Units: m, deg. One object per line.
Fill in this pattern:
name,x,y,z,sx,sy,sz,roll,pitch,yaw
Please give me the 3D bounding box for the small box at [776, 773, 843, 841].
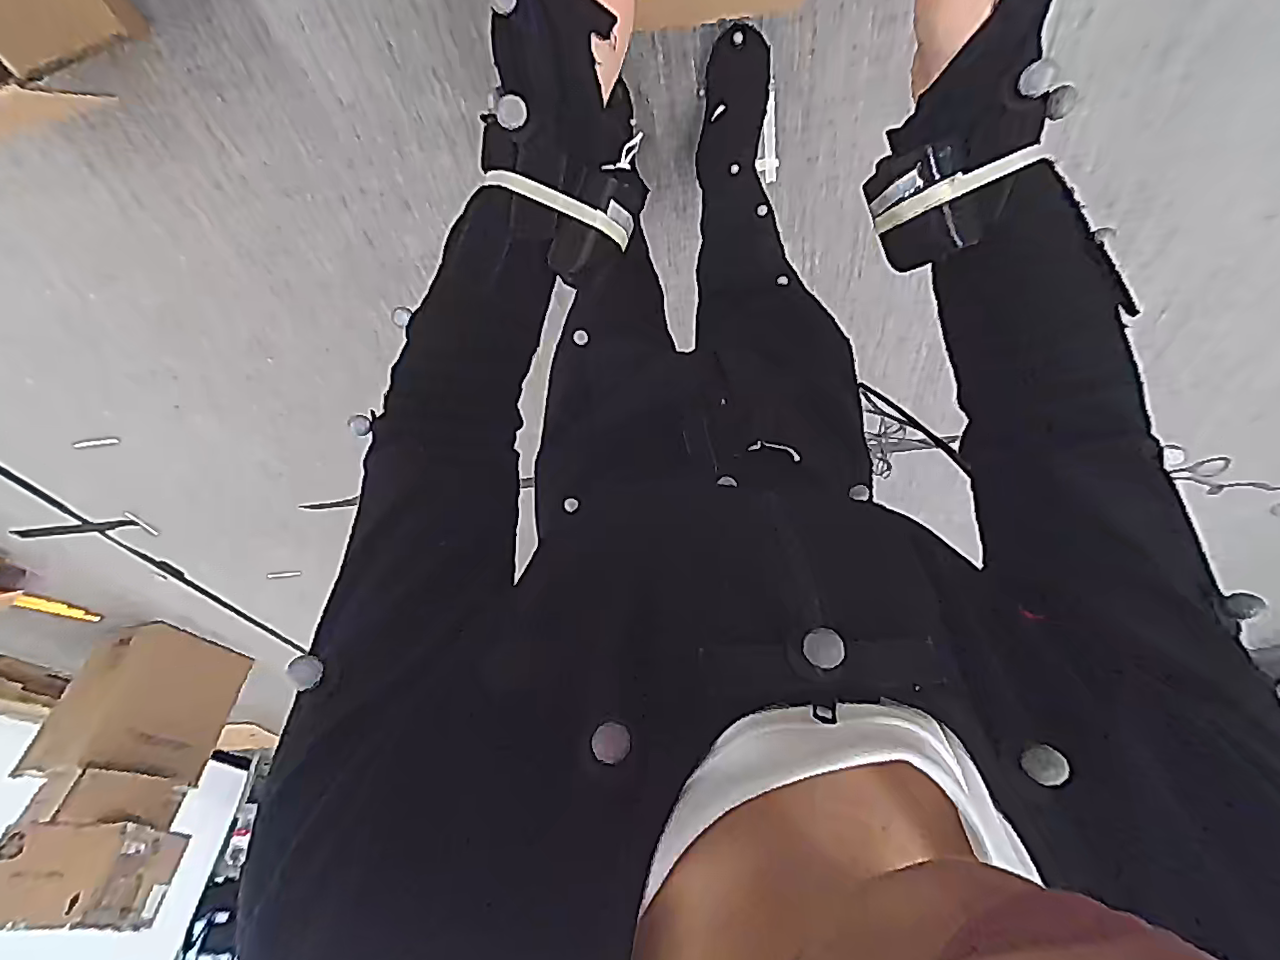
small box,0.553,1.086,1.792,0.168,0.176,0.179,-2,139,2
